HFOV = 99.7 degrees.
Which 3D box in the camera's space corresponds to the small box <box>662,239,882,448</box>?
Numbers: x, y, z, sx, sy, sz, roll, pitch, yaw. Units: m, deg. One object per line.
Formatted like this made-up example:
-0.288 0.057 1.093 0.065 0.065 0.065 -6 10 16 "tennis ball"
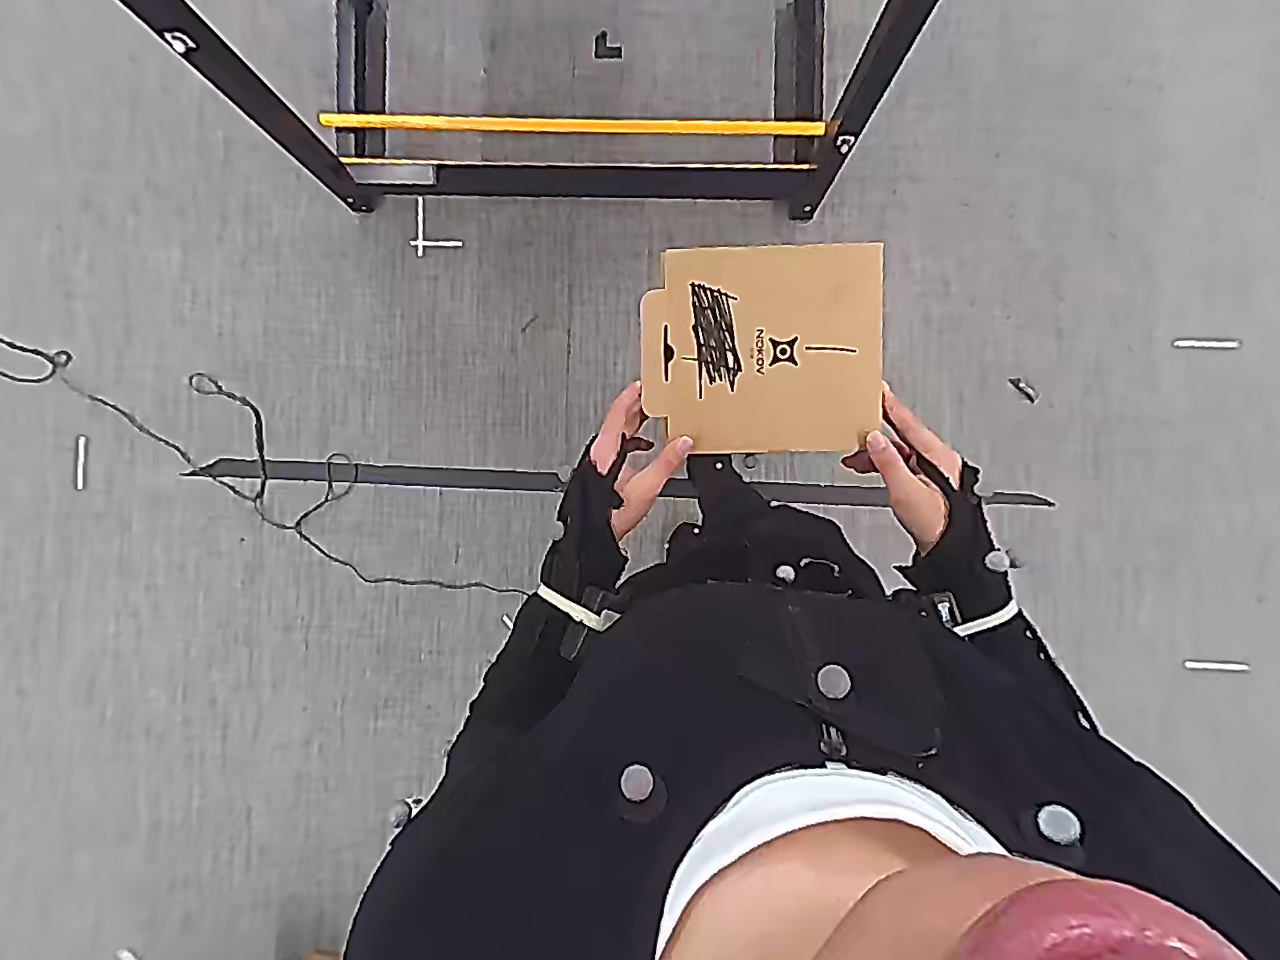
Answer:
0.110 -0.114 0.516 0.179 0.176 0.168 -1 94 2 "small box"
